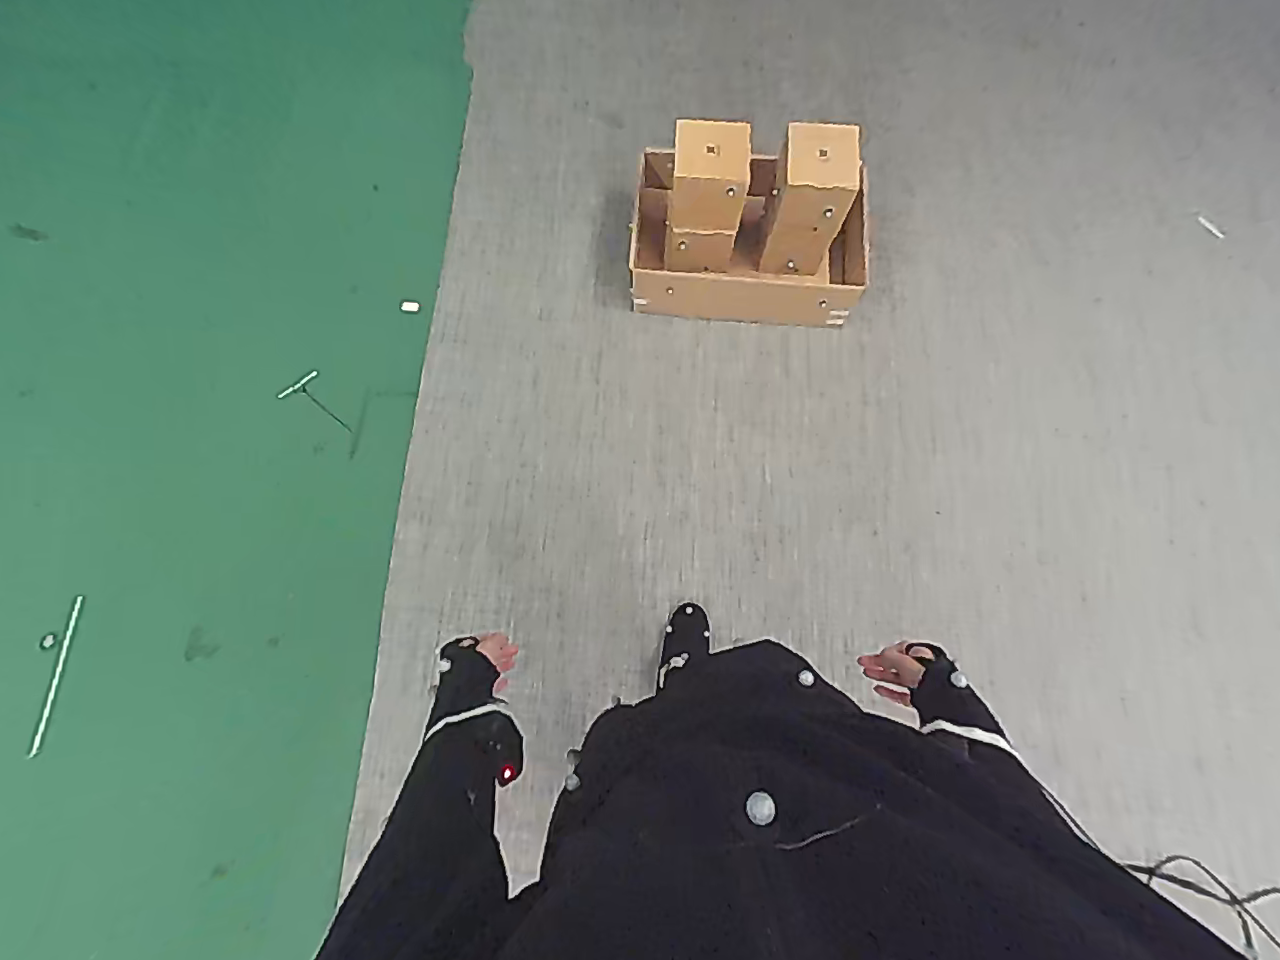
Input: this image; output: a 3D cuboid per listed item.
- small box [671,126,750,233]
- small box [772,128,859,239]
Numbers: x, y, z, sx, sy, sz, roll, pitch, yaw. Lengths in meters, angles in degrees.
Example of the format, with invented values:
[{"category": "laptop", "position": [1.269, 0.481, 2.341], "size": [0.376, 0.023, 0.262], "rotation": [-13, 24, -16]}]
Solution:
[{"category": "small box", "position": [0.170, -0.736, 1.336], "size": [0.179, 0.176, 0.168], "rotation": [3, 76, 1]}, {"category": "small box", "position": [0.425, -0.721, 1.328], "size": [0.168, 0.176, 0.179], "rotation": [5, 76, 2]}]
